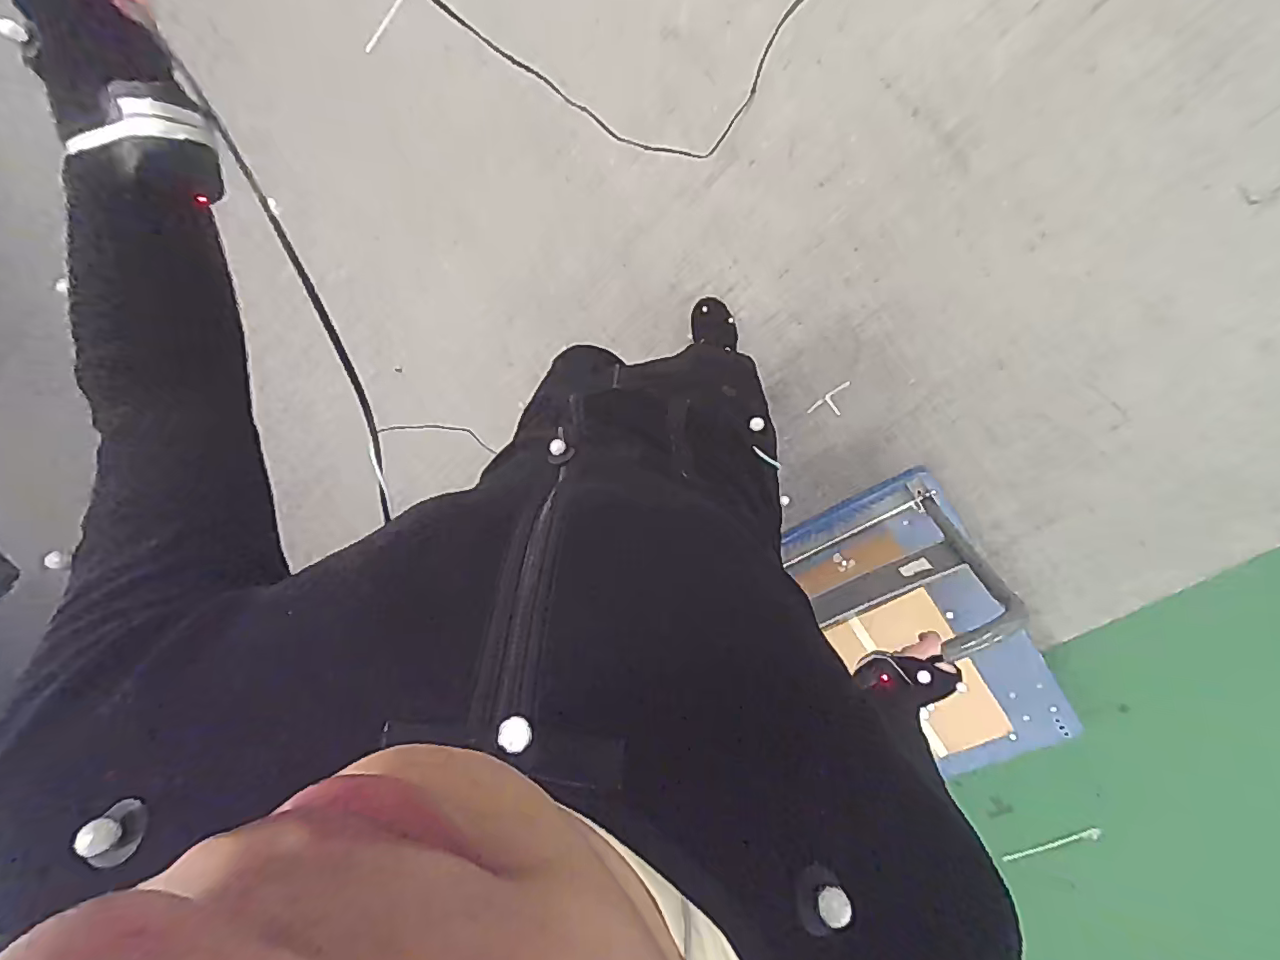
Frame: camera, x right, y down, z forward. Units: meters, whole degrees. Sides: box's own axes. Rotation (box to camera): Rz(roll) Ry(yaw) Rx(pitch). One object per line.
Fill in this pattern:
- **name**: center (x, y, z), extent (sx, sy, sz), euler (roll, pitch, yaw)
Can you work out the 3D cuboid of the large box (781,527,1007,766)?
- **large box**: center (0.591, 0.394, 1.332), extent (0.320, 0.320, 0.408), euler (-32, 99, 20)
